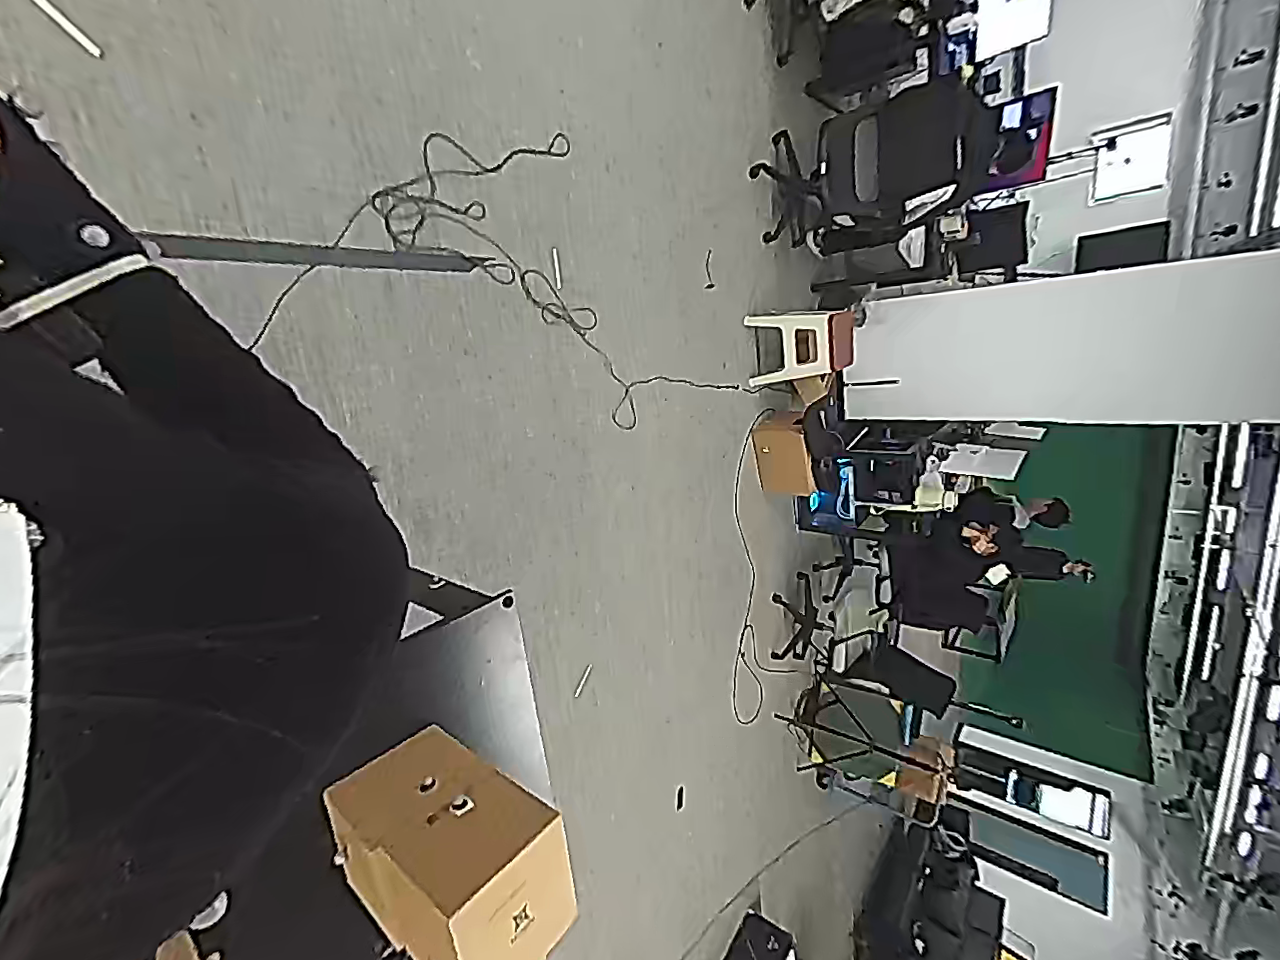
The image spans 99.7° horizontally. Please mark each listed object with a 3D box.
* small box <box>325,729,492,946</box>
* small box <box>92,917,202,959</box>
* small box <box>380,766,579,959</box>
[{"bbox_3d":[-0.330,0.507,0.802,0.179,0.176,0.168,-20,109,-46],"label":"small box"},{"bbox_3d":[-0.542,0.612,0.562,0.168,0.176,0.179,-24,112,-46],"label":"small box"},{"bbox_3d":[-0.204,0.516,0.699,0.168,0.176,0.179,-23,110,-48],"label":"small box"}]
